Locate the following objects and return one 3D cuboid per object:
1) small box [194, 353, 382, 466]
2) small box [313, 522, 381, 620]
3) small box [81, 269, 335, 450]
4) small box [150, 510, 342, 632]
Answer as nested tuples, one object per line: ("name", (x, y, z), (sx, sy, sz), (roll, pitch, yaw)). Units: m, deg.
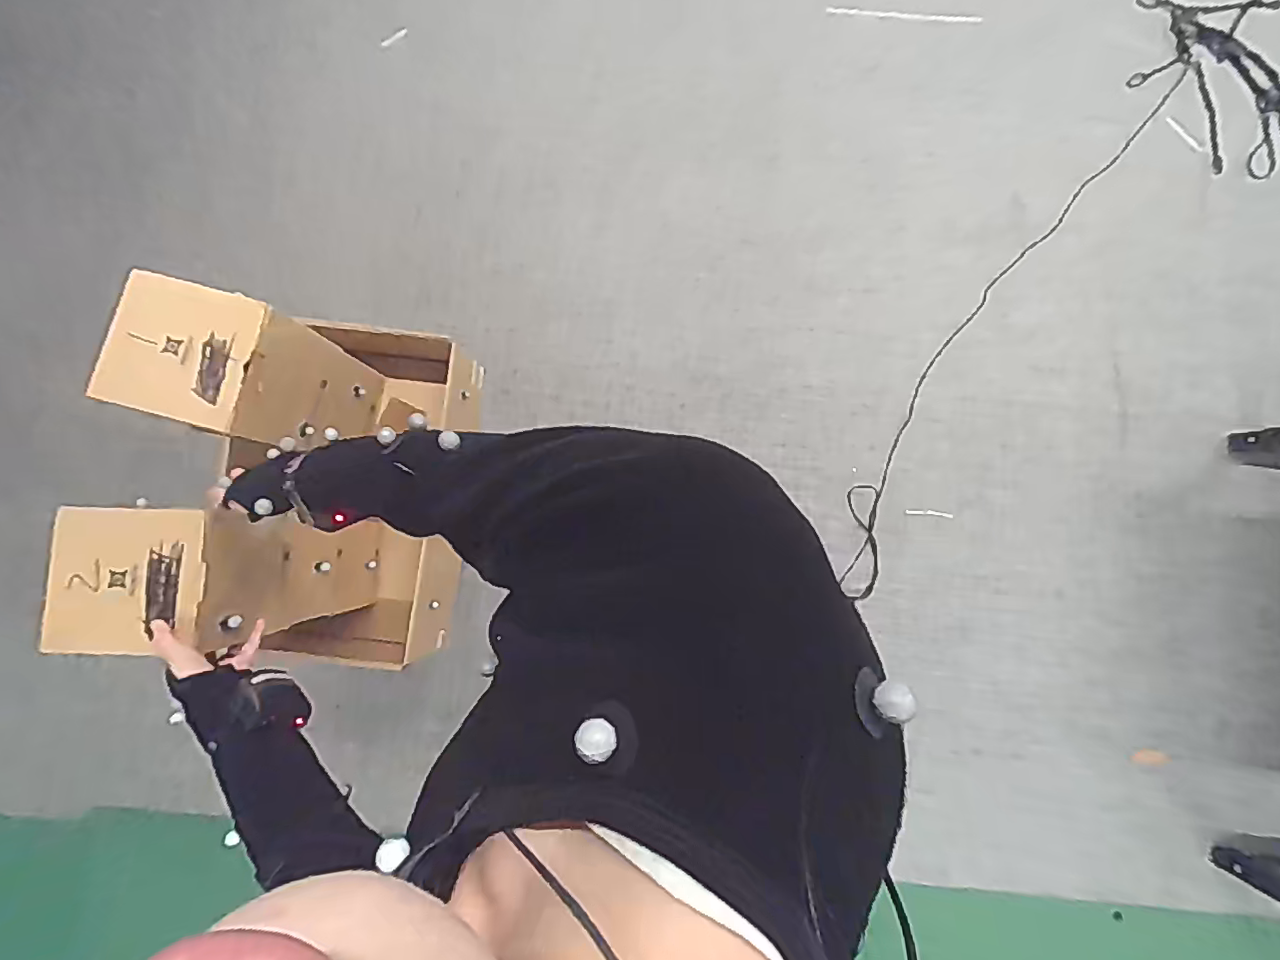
("small box", (-0.551, -0.124, 0.874), (0.179, 0.176, 0.168), (12, 84, 0))
("small box", (-0.616, 0.160, 1.008), (0.179, 0.176, 0.168), (3, 85, -1))
("small box", (-0.544, -0.143, 0.712), (0.179, 0.176, 0.168), (15, 84, 1))
("small box", (-0.598, 0.136, 0.847), (0.179, 0.176, 0.168), (3, 84, -1))
